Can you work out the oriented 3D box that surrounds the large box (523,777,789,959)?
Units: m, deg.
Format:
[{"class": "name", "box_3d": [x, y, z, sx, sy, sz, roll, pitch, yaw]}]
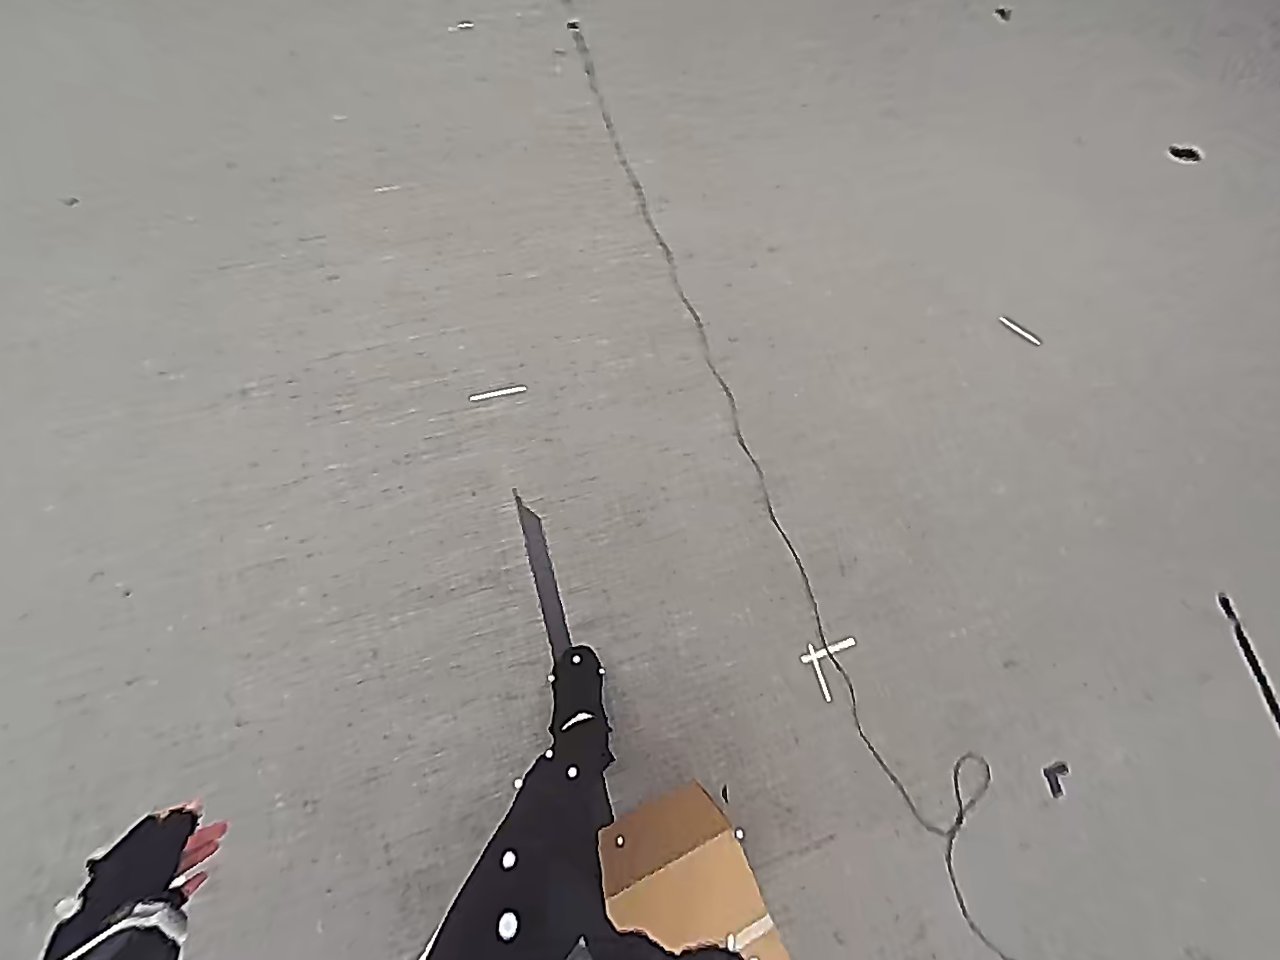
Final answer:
[{"class": "large box", "box_3d": [0.020, 0.861, 1.062, 0.408, 0.320, 0.320, -21, 79, -13]}]
